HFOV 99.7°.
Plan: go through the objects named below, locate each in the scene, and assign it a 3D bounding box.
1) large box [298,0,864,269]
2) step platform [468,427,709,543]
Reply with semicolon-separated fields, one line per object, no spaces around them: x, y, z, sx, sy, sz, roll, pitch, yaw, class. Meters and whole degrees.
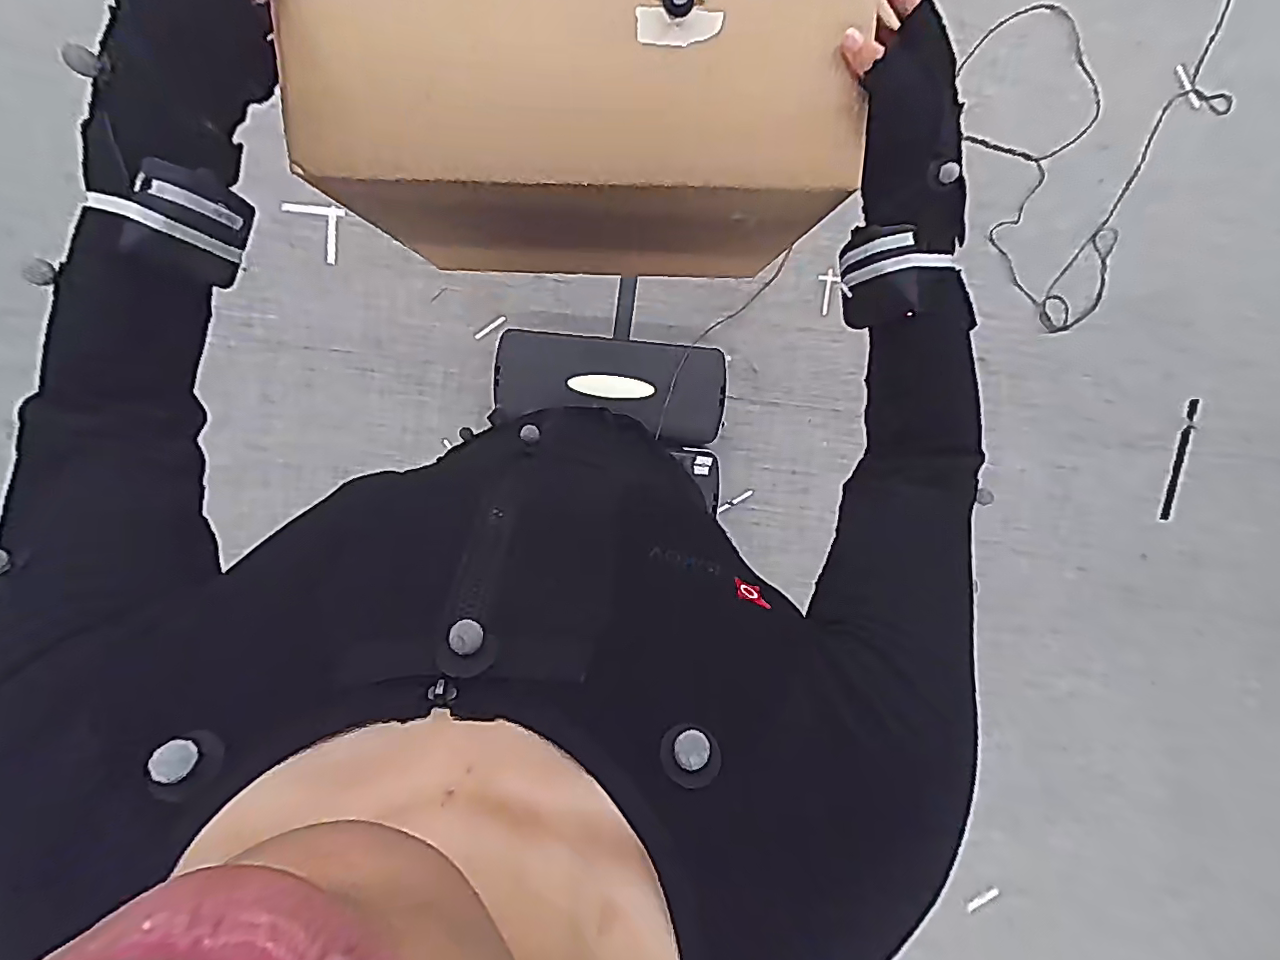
-0.045;-0.398;0.519;0.408;0.320;0.320;0;100;-3;large box
-0.143;0.014;1.575;0.684;0.204;0.286;5;96;-2;step platform
